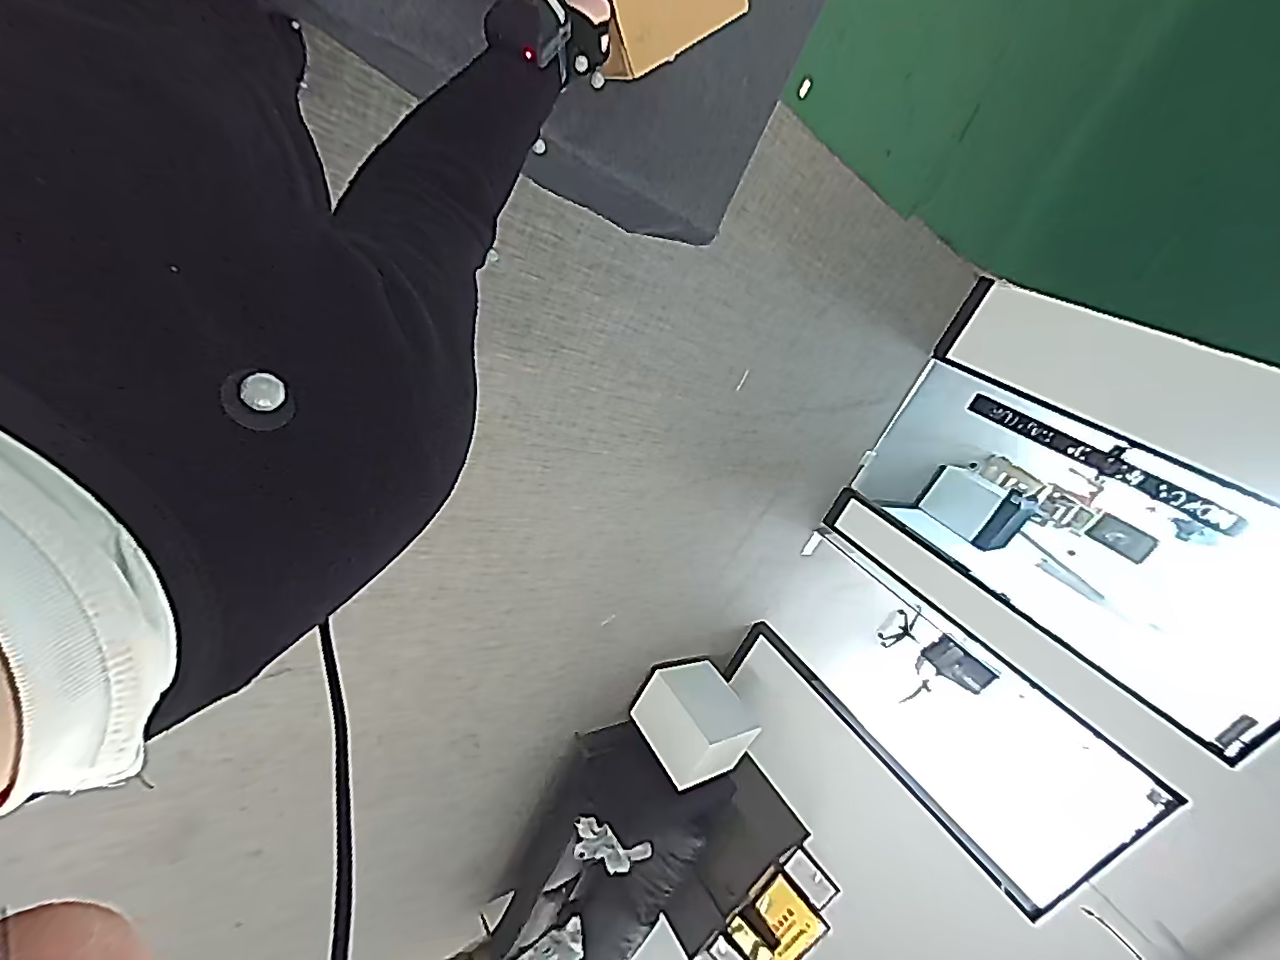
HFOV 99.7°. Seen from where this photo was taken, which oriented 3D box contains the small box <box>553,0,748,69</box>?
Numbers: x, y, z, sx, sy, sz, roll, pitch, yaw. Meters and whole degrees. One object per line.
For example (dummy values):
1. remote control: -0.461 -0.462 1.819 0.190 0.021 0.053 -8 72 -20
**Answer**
1. small box: -0.007 -0.601 0.610 0.179 0.176 0.168 -38 141 -8
